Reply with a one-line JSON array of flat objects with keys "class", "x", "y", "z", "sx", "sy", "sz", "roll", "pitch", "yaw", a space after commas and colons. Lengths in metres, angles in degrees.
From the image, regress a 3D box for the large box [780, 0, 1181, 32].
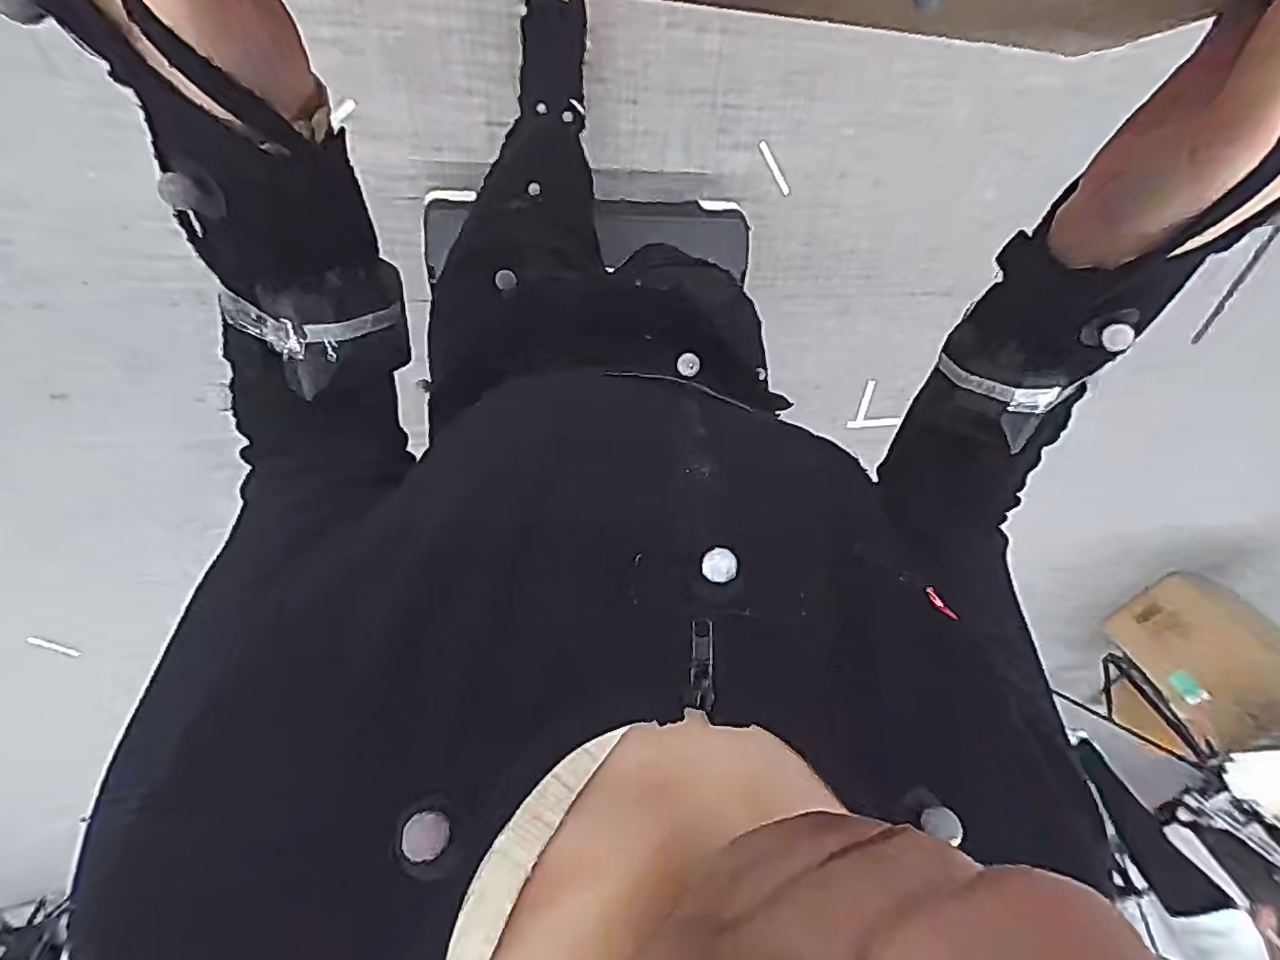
[{"class": "large box", "x": 0.049, "y": -0.315, "z": 0.077, "sx": 0.408, "sy": 0.320, "sz": 0.320, "roll": 2, "pitch": 119, "yaw": -4}]
